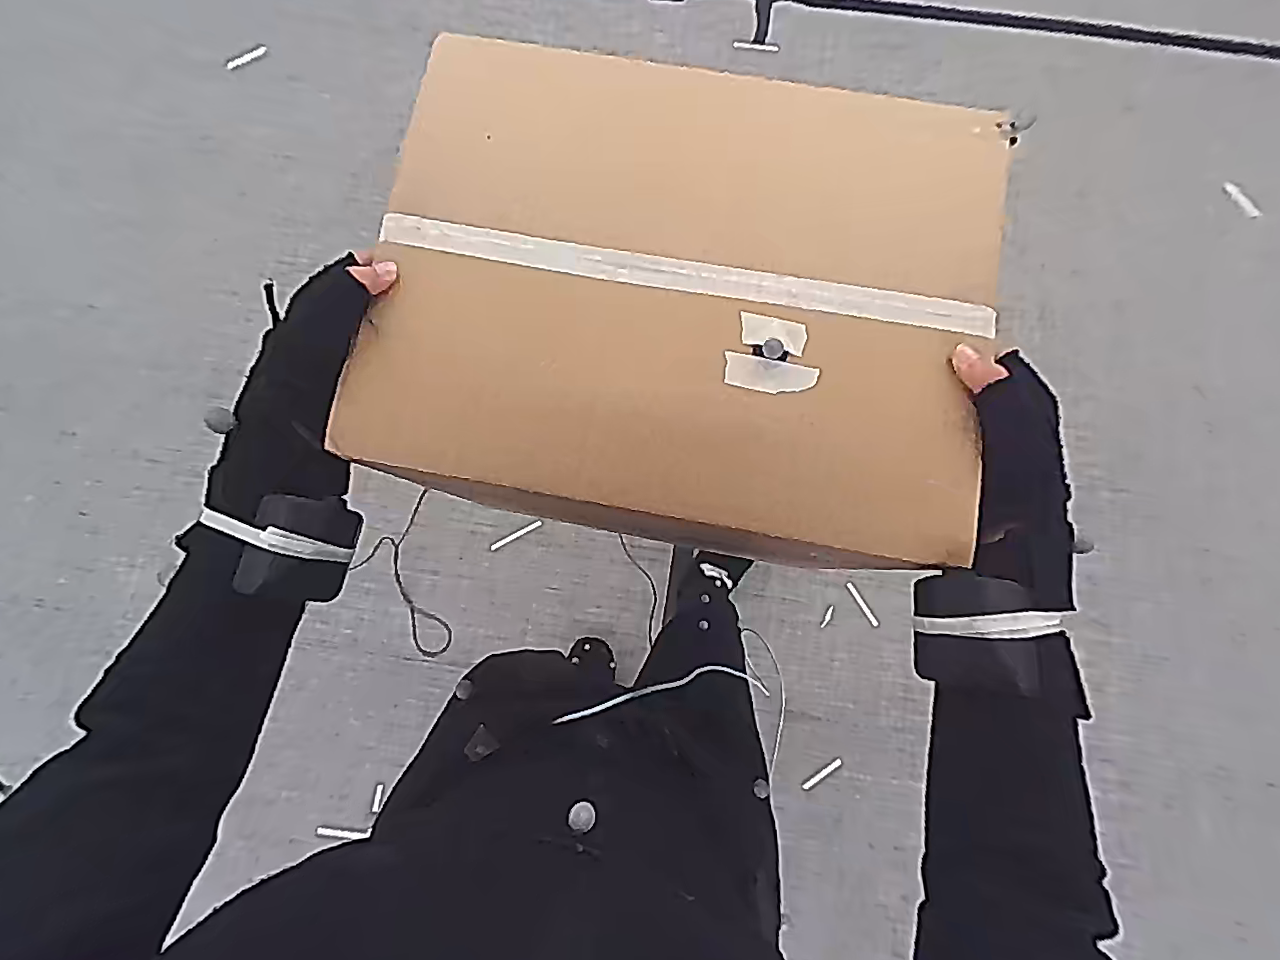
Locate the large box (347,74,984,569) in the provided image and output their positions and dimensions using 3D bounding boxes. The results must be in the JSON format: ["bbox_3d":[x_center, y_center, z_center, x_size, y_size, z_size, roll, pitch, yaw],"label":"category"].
[{"bbox_3d":[0.026,-0.100,0.516,0.408,0.320,0.320,10,82,2],"label":"large box"}]
